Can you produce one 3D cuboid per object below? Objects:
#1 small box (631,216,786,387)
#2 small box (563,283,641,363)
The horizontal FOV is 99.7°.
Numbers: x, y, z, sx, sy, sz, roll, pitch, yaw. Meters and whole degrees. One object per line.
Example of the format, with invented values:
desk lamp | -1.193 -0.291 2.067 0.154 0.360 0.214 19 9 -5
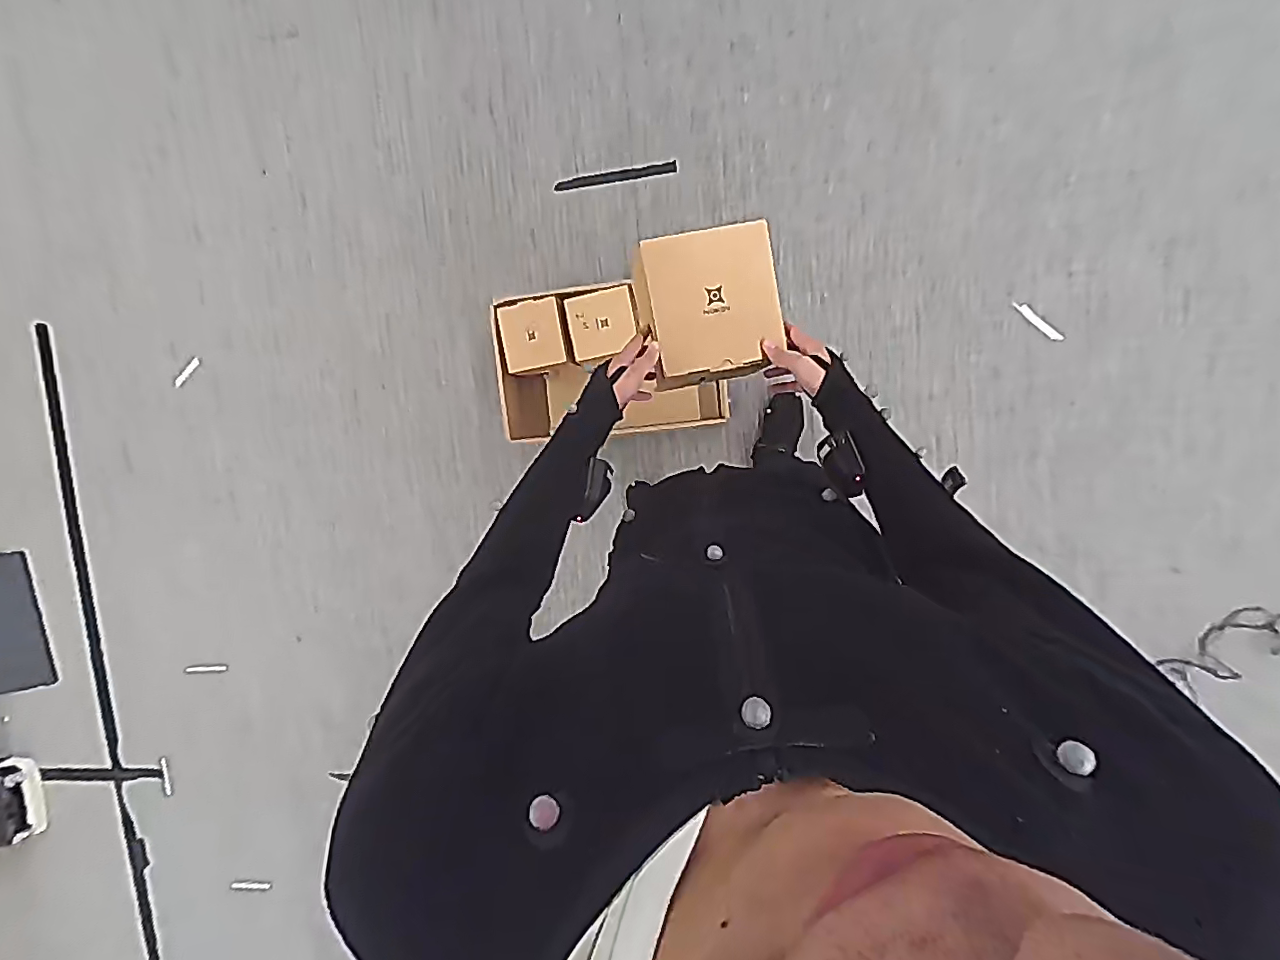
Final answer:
small box | 0.085 -0.234 0.749 0.168 0.176 0.179 -11 96 -2
small box | -0.096 -0.423 1.476 0.179 0.176 0.168 -10 95 6
